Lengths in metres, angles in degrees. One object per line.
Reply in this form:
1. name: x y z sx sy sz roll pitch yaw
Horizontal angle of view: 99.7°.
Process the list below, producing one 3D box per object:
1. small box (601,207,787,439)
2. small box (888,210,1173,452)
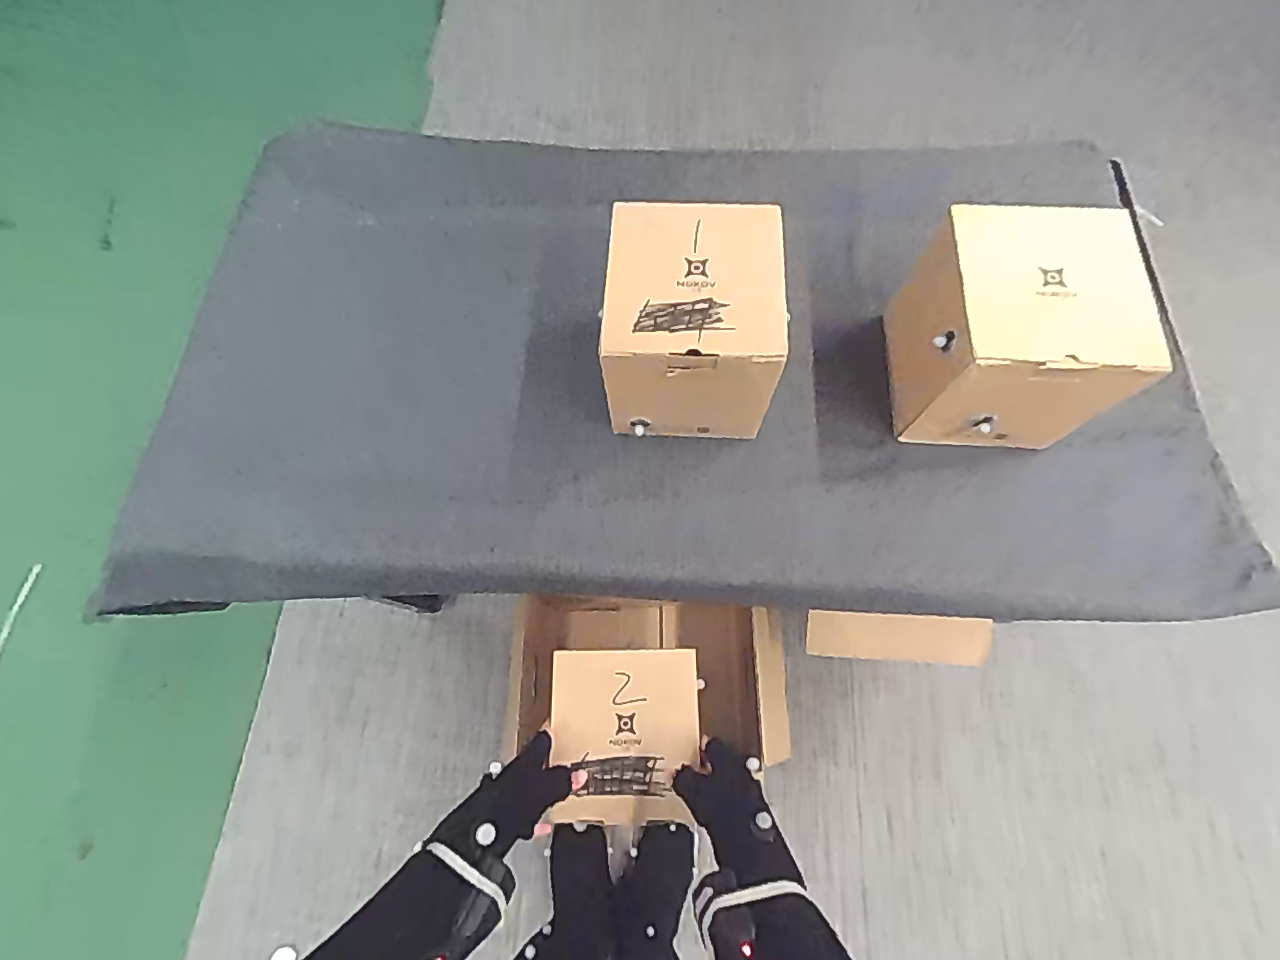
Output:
1. small box: 0.055 -0.155 0.572 0.168 0.176 0.179 3 69 2
2. small box: 0.375 -0.145 0.561 0.168 0.176 0.179 3 71 3
